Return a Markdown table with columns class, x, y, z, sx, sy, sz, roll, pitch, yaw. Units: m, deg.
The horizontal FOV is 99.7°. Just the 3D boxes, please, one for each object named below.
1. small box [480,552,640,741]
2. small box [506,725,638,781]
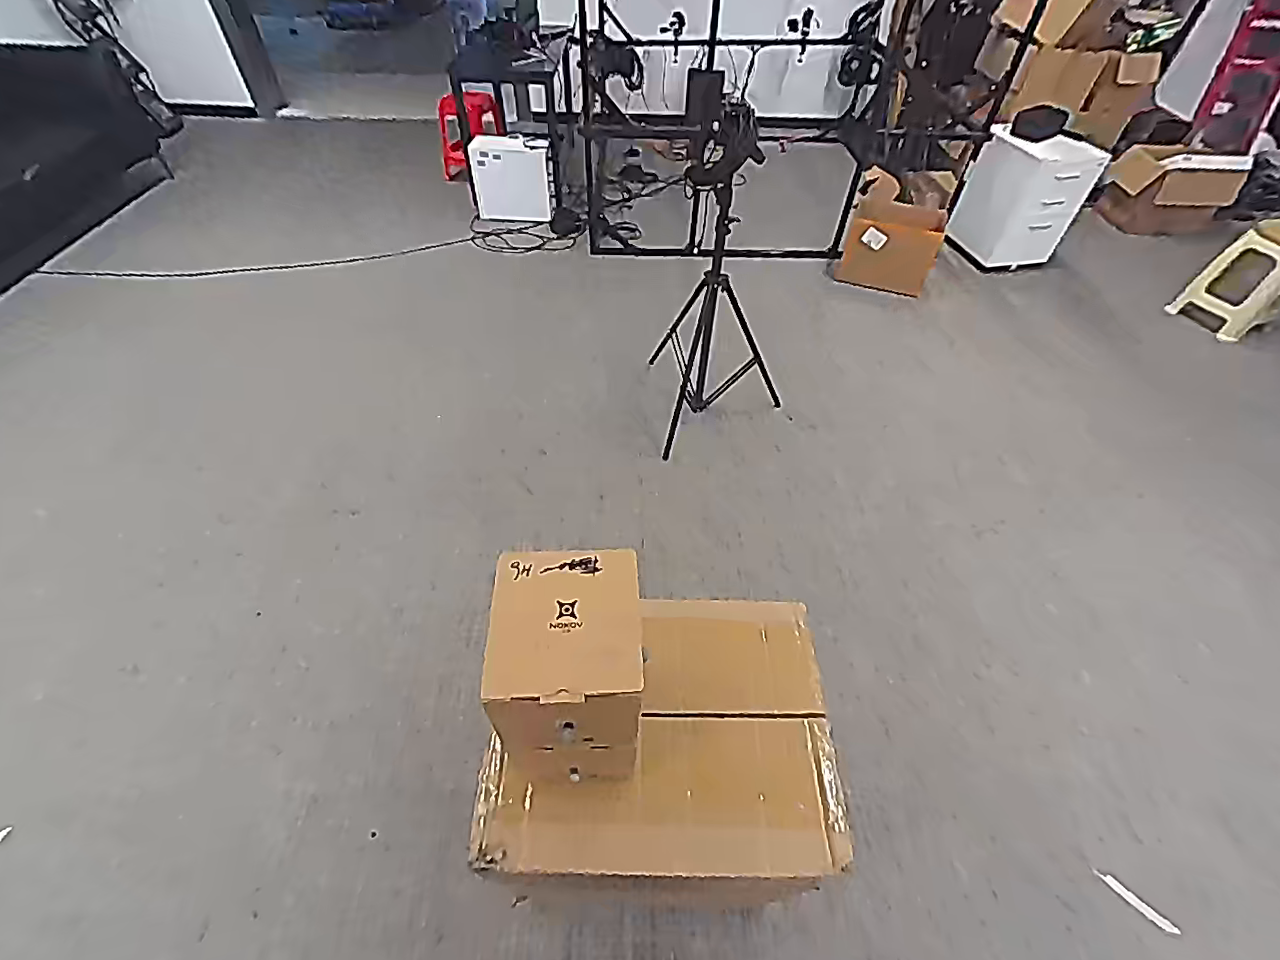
| class | x | y | z | sx | sy | sz | roll | pitch | yaw |
| --- | --- | --- | --- | --- | --- | --- | --- | --- | --- |
| small box | -0.086 | 0.206 | 0.657 | 0.168 | 0.176 | 0.179 | -1 | 50 | -4 |
| small box | -0.089 | 0.316 | 0.779 | 0.168 | 0.176 | 0.179 | 0 | 49 | -2 |
